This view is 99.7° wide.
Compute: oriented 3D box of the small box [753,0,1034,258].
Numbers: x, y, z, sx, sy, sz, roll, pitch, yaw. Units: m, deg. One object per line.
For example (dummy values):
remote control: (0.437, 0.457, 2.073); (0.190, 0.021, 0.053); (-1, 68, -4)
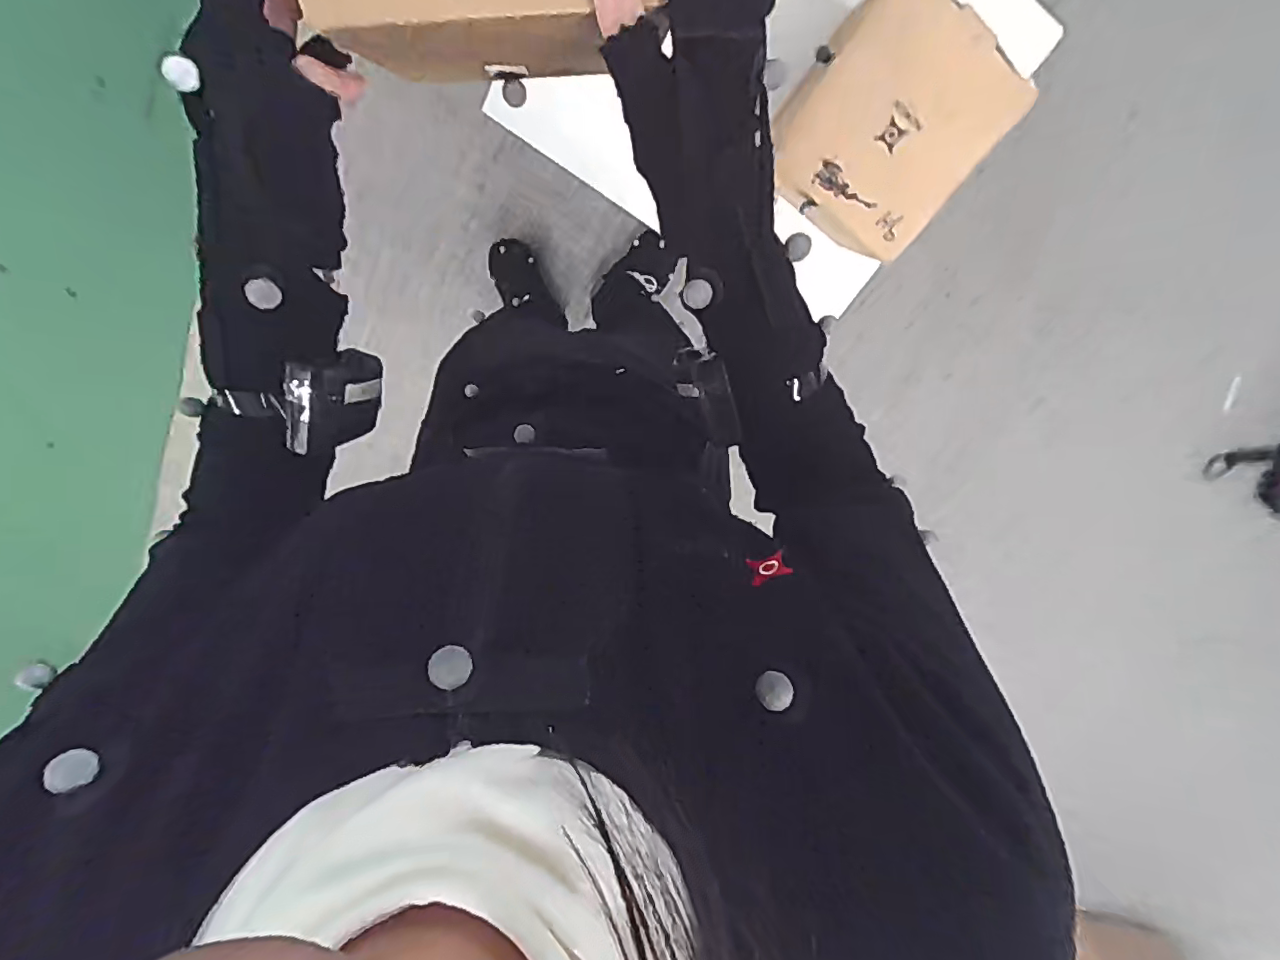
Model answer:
small box: (0.237, -0.364, 0.560); (0.168, 0.176, 0.179); (33, 115, -14)

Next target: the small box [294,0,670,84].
small box: (-0.078, -0.319, 0.264); (0.168, 0.176, 0.179); (-6, 121, 0)
